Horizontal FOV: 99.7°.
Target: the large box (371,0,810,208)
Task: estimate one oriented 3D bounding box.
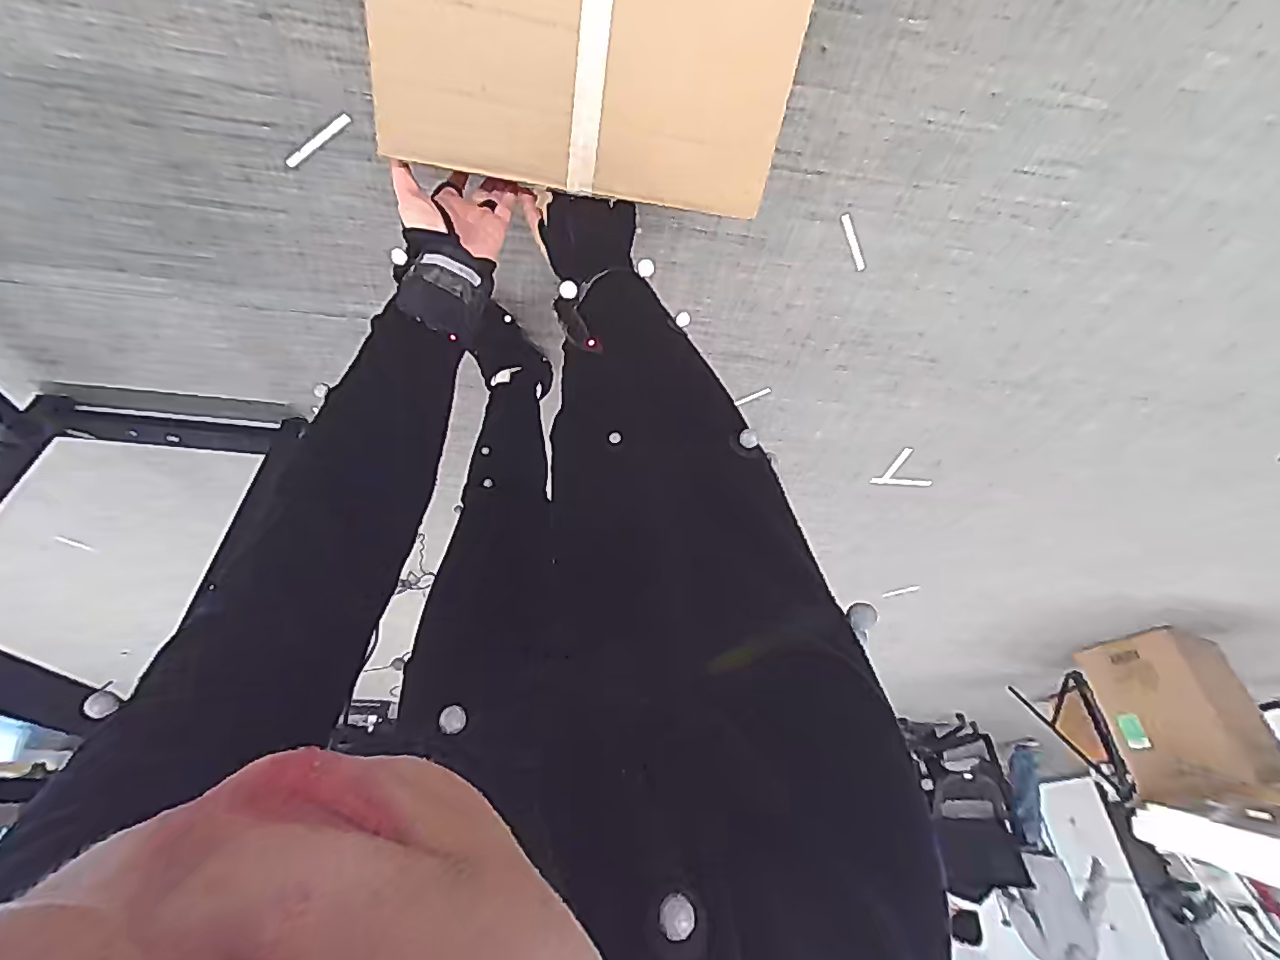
[{"bbox_3d":[-0.030,-0.490,0.460,0.320,0.320,0.408,5,123,-9],"label":"large box"}]
